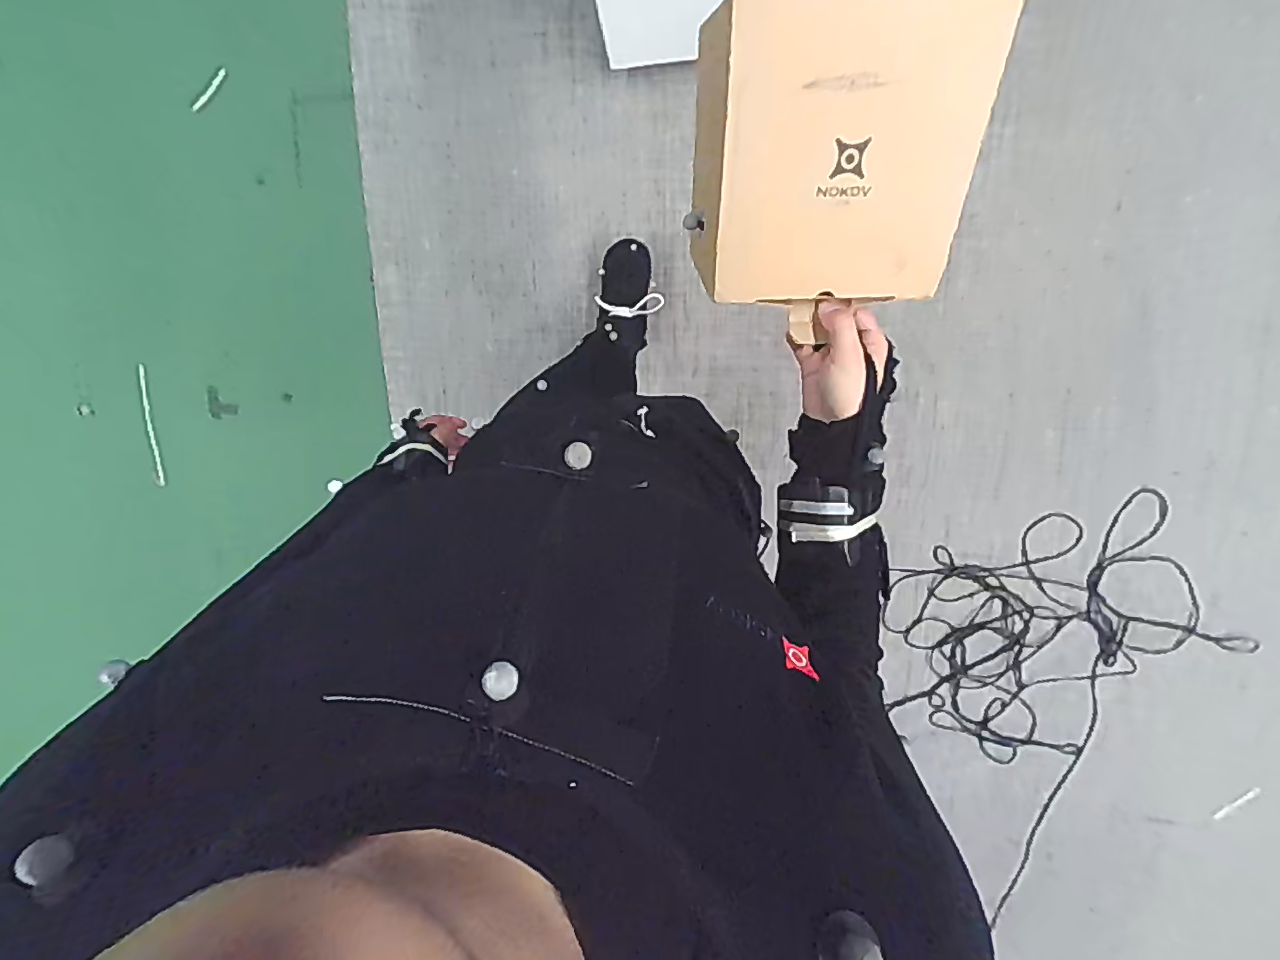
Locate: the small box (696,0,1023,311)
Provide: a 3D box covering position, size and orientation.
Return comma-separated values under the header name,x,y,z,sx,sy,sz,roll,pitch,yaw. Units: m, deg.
name,x,y,z,sx,sy,sz,roll,pitch,yaw
small box,0.136,-0.243,0.418,0.168,0.176,0.179,-1,123,-1
